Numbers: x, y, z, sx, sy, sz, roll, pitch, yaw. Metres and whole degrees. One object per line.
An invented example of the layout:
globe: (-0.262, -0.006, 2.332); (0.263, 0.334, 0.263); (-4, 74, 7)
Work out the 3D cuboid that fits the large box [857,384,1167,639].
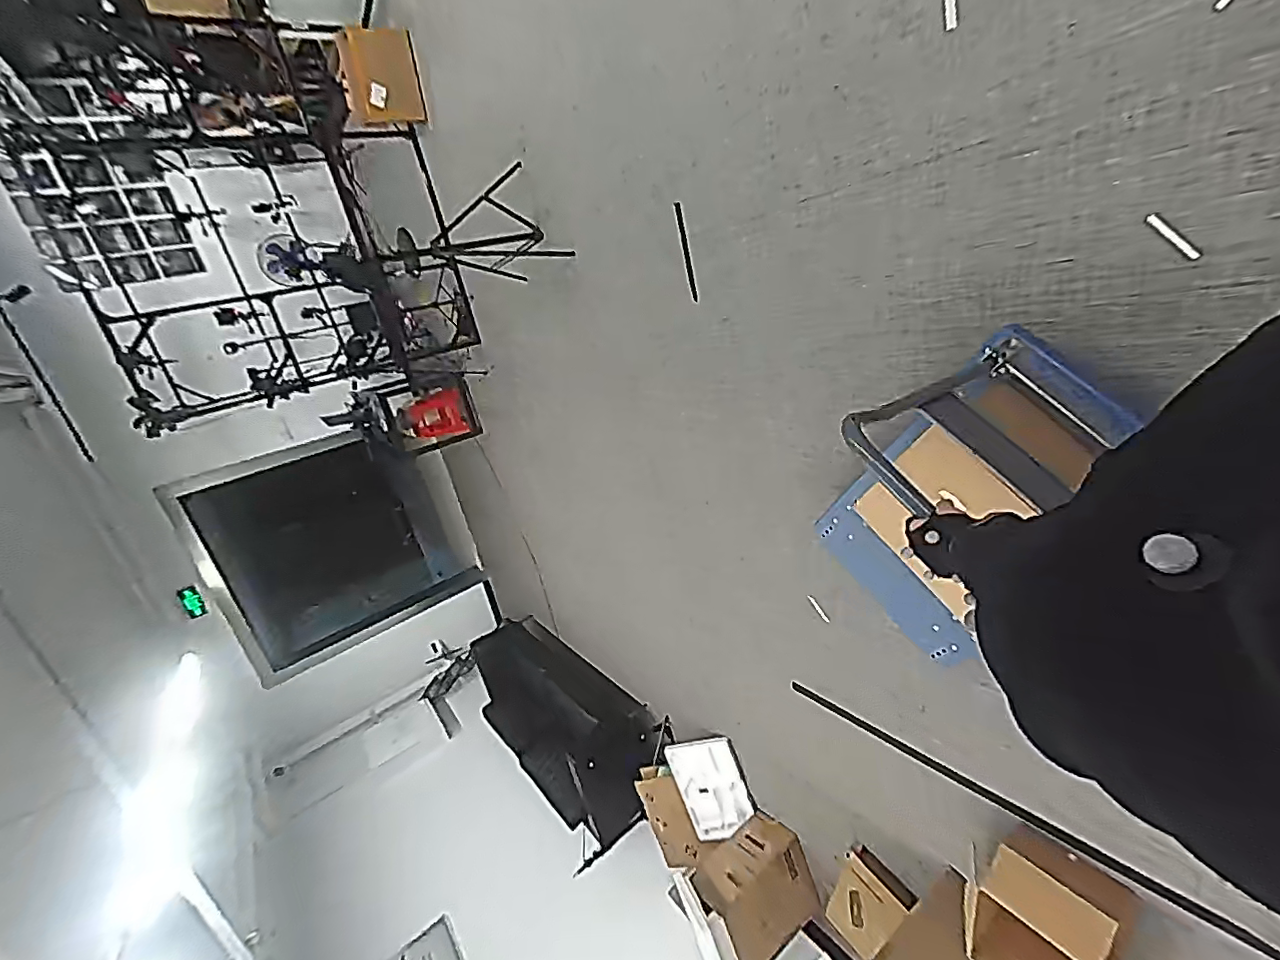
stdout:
large box: (0.787, 0.061, 1.189); (0.408, 0.320, 0.320); (53, 147, 22)
